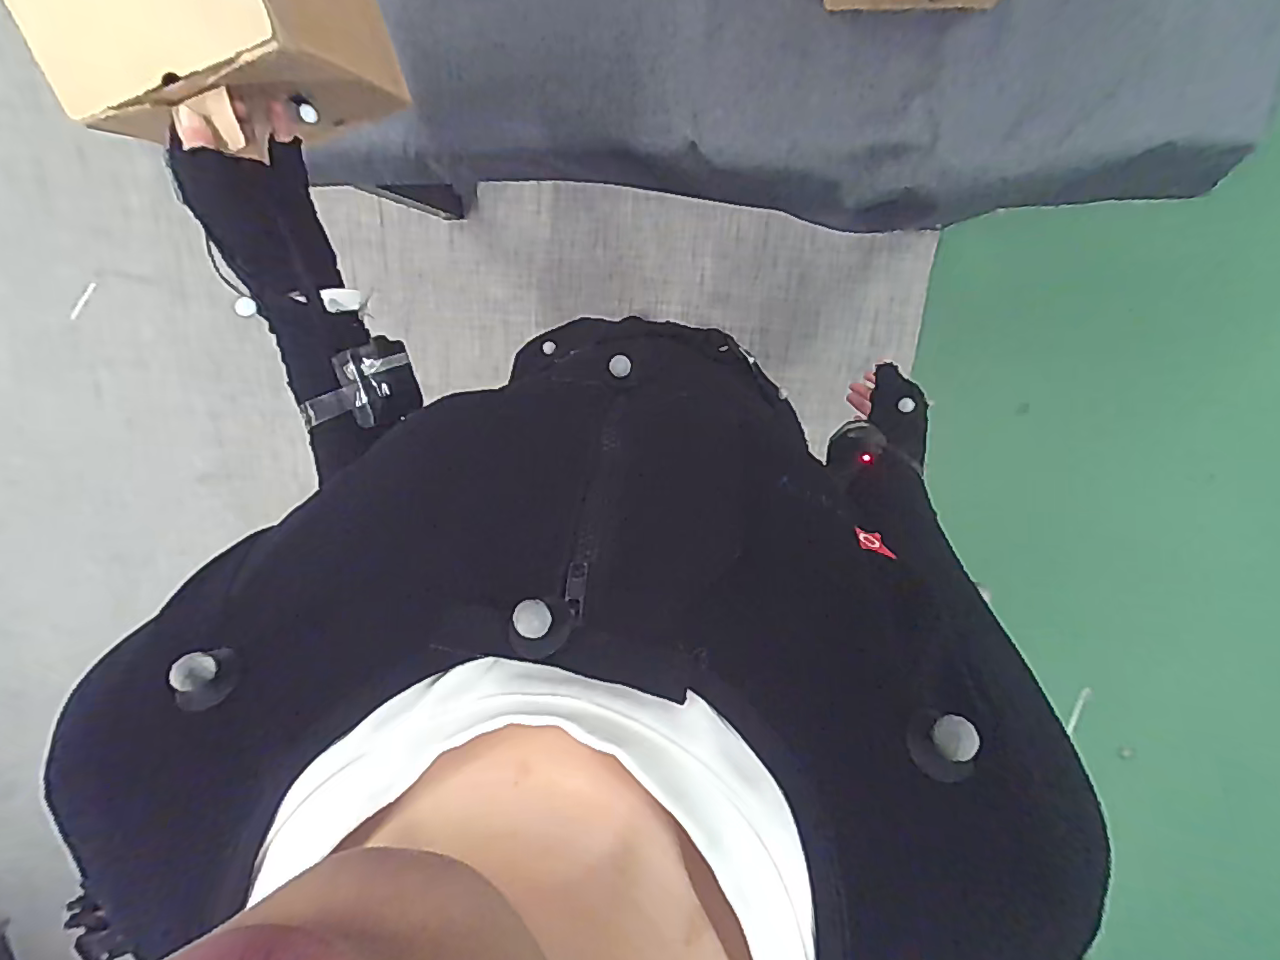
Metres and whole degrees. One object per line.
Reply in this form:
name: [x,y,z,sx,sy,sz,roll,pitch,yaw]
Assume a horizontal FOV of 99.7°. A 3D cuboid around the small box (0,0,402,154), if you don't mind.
small box: [-0.304,-0.352,0.381,0.168,0.176,0.179,-11,110,11]
